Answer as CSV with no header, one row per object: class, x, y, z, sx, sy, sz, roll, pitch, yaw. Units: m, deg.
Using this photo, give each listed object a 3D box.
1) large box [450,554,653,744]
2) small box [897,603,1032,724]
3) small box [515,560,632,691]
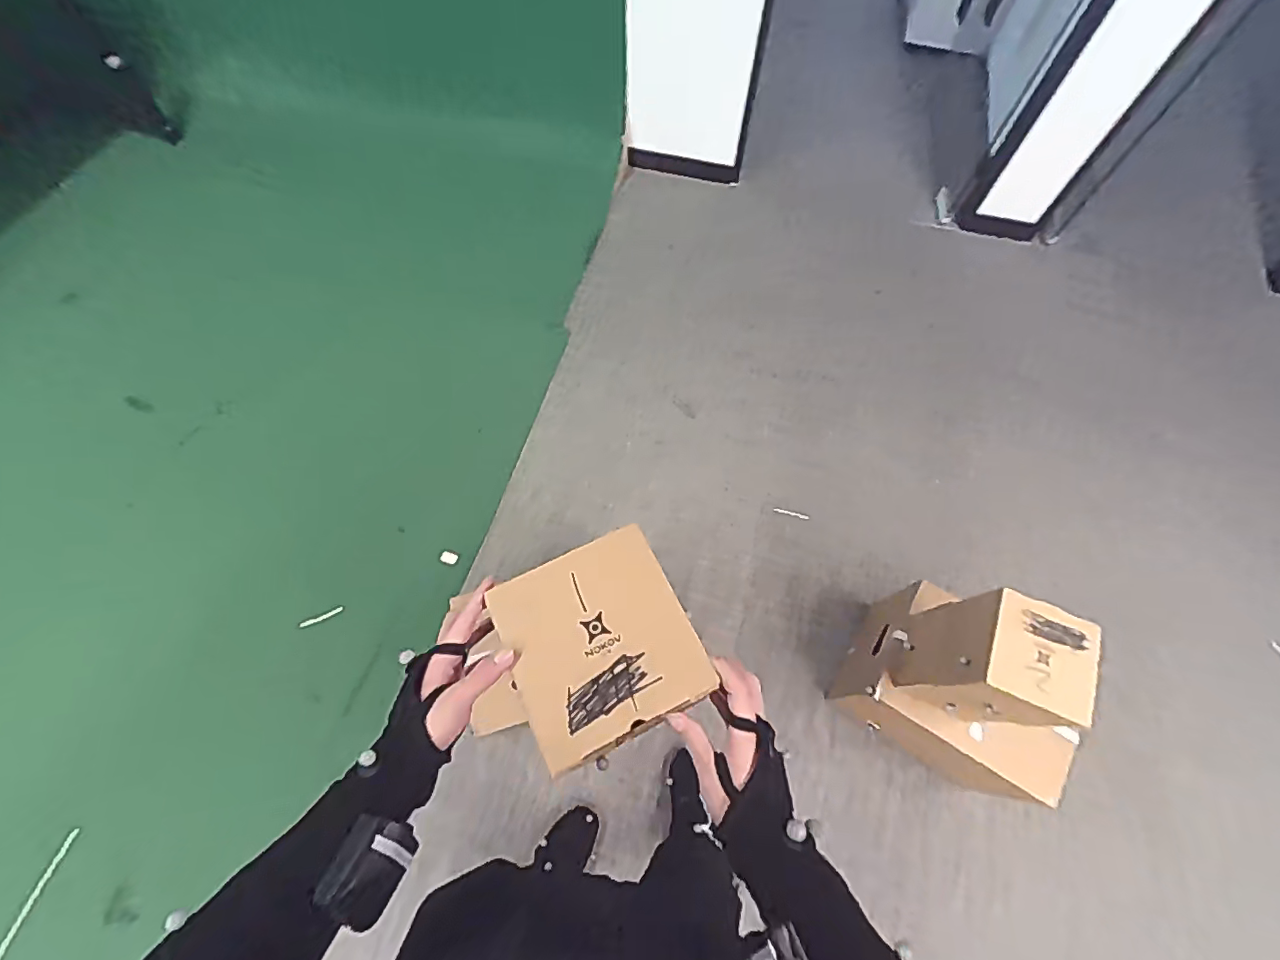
large box,-0.205,0.426,1.348,0.408,0.320,0.320,-16,65,-7
small box,0.658,0.381,1.114,0.168,0.176,0.179,24,68,9
small box,-0.116,0.267,0.972,0.168,0.176,0.179,-15,67,-7
